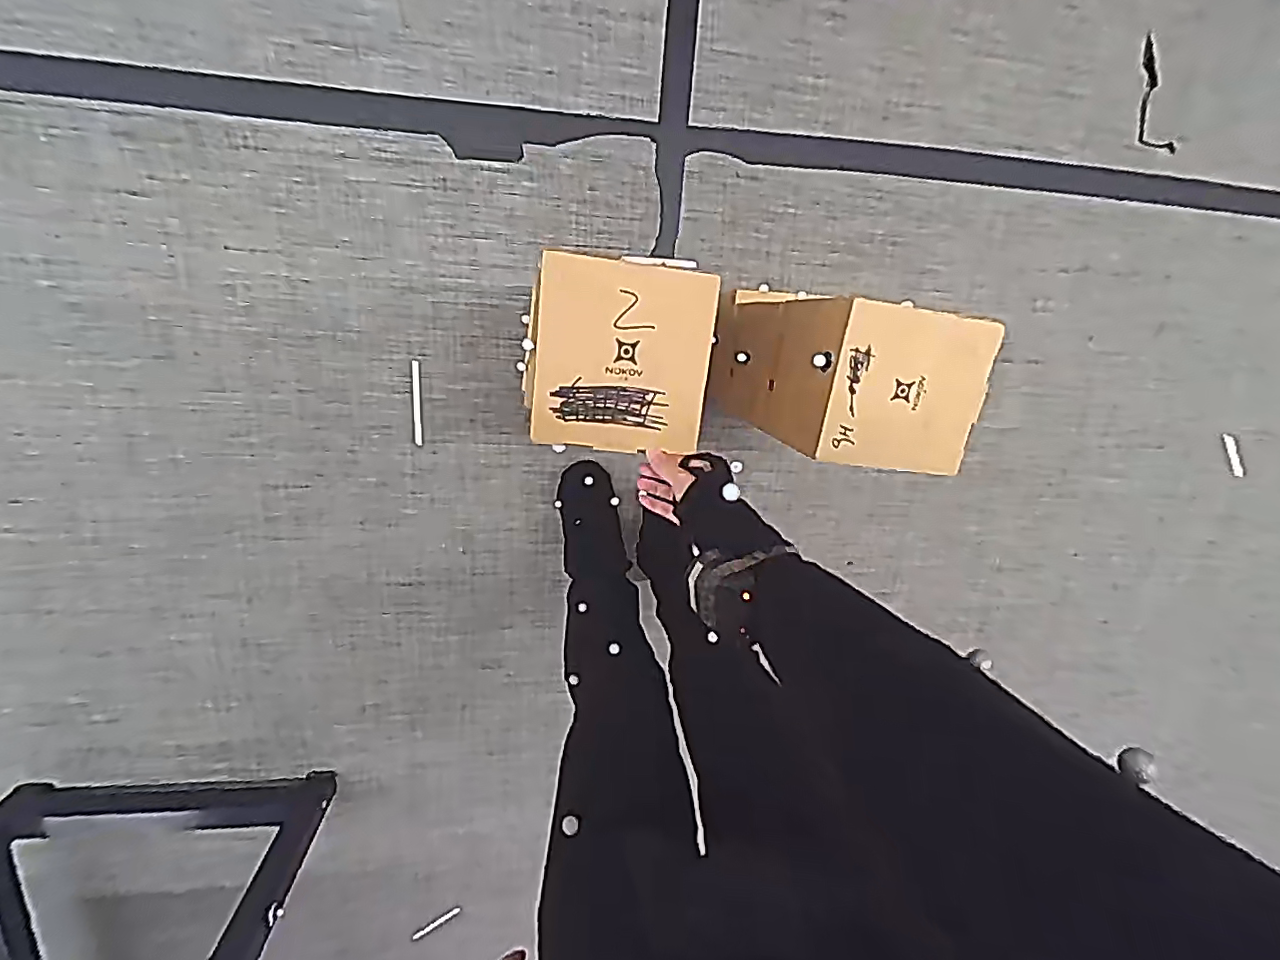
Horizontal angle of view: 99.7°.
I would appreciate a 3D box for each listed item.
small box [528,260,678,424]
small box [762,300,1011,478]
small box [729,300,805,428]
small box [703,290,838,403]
[{"bbox_3d":[-0.058,-0.184,0.729,0.168,0.176,0.179,5,105,-12],"label":"small box"},{"bbox_3d":[0.267,-0.111,0.627,0.179,0.176,0.168,6,106,-12],"label":"small box"},{"bbox_3d":[0.242,-0.163,0.781,0.179,0.176,0.168,3,107,-11],"label":"small box"},{"bbox_3d":[0.213,-0.227,0.930,0.168,0.176,0.179,1,106,-10],"label":"small box"}]
